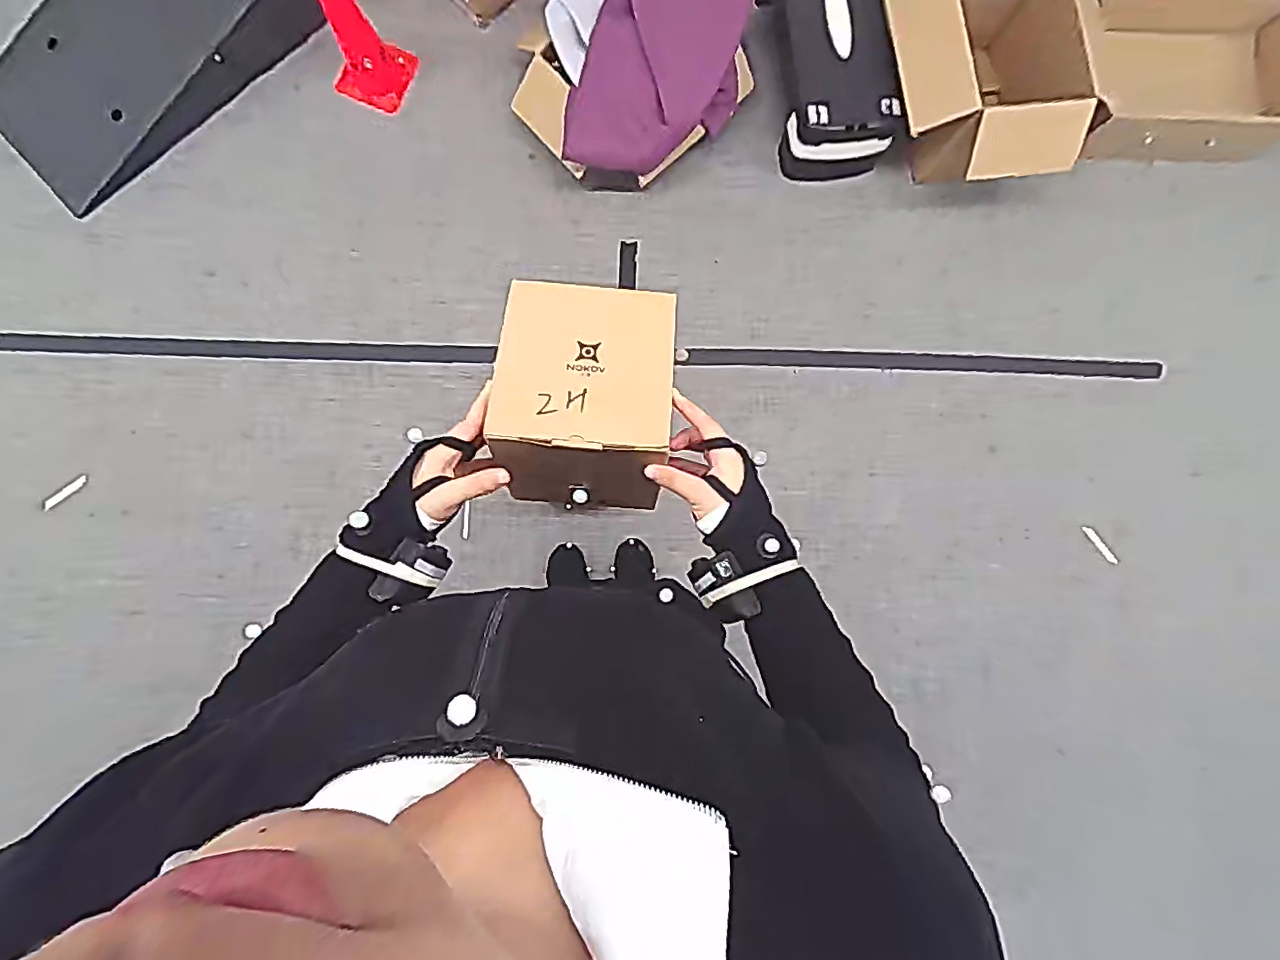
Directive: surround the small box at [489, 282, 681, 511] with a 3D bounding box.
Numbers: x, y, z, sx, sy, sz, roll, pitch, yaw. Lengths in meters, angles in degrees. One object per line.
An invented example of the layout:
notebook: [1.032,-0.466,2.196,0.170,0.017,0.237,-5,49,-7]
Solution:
small box: [-0.051,-0.080,0.577,0.168,0.176,0.179,4,69,-2]
